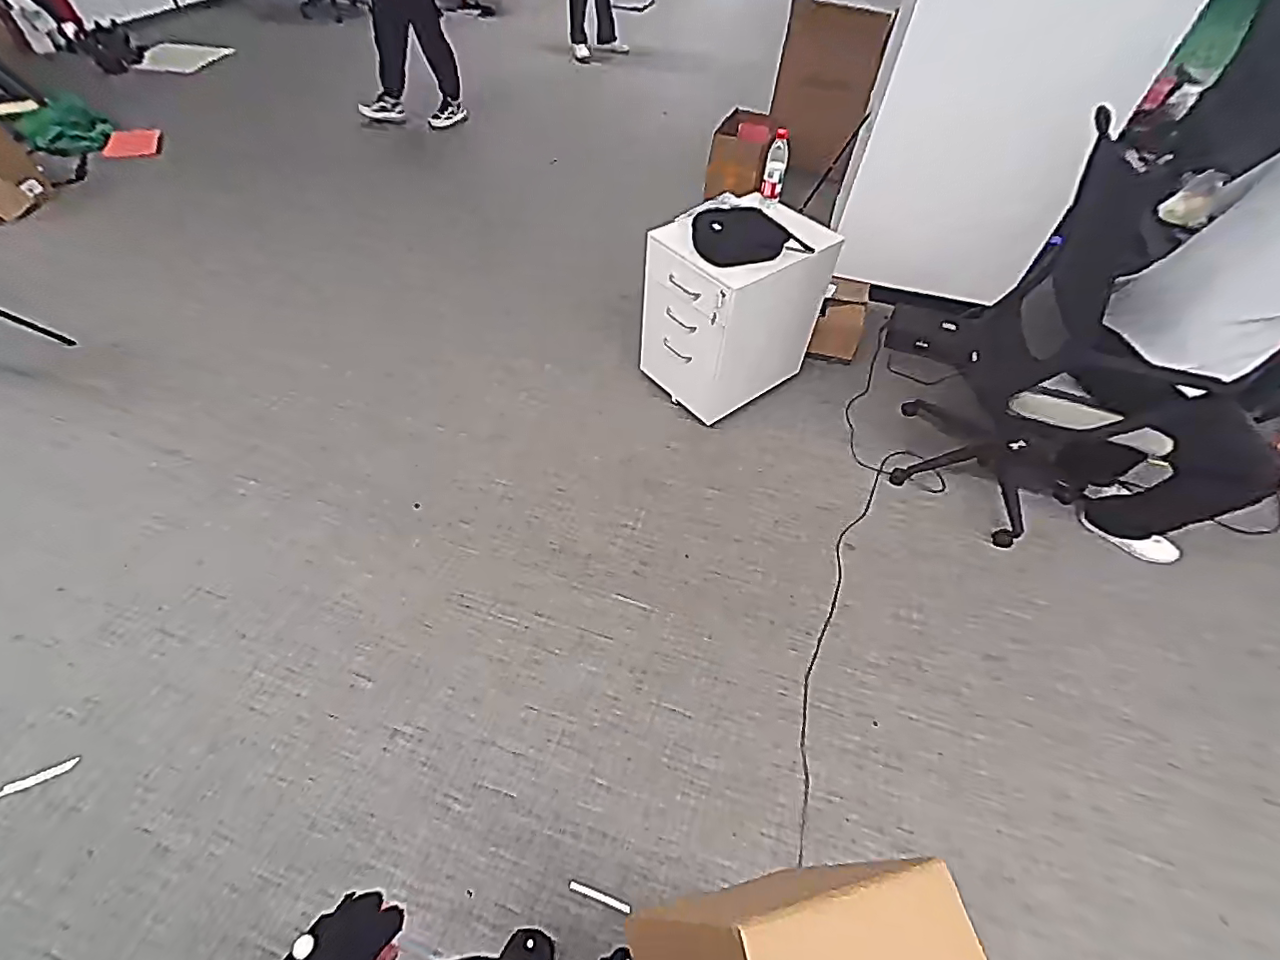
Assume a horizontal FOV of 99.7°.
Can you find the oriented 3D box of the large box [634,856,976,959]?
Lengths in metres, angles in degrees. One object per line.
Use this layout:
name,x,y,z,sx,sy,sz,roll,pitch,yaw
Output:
large box,0.220,0.732,0.714,0.320,0.408,0.320,0,53,-20
